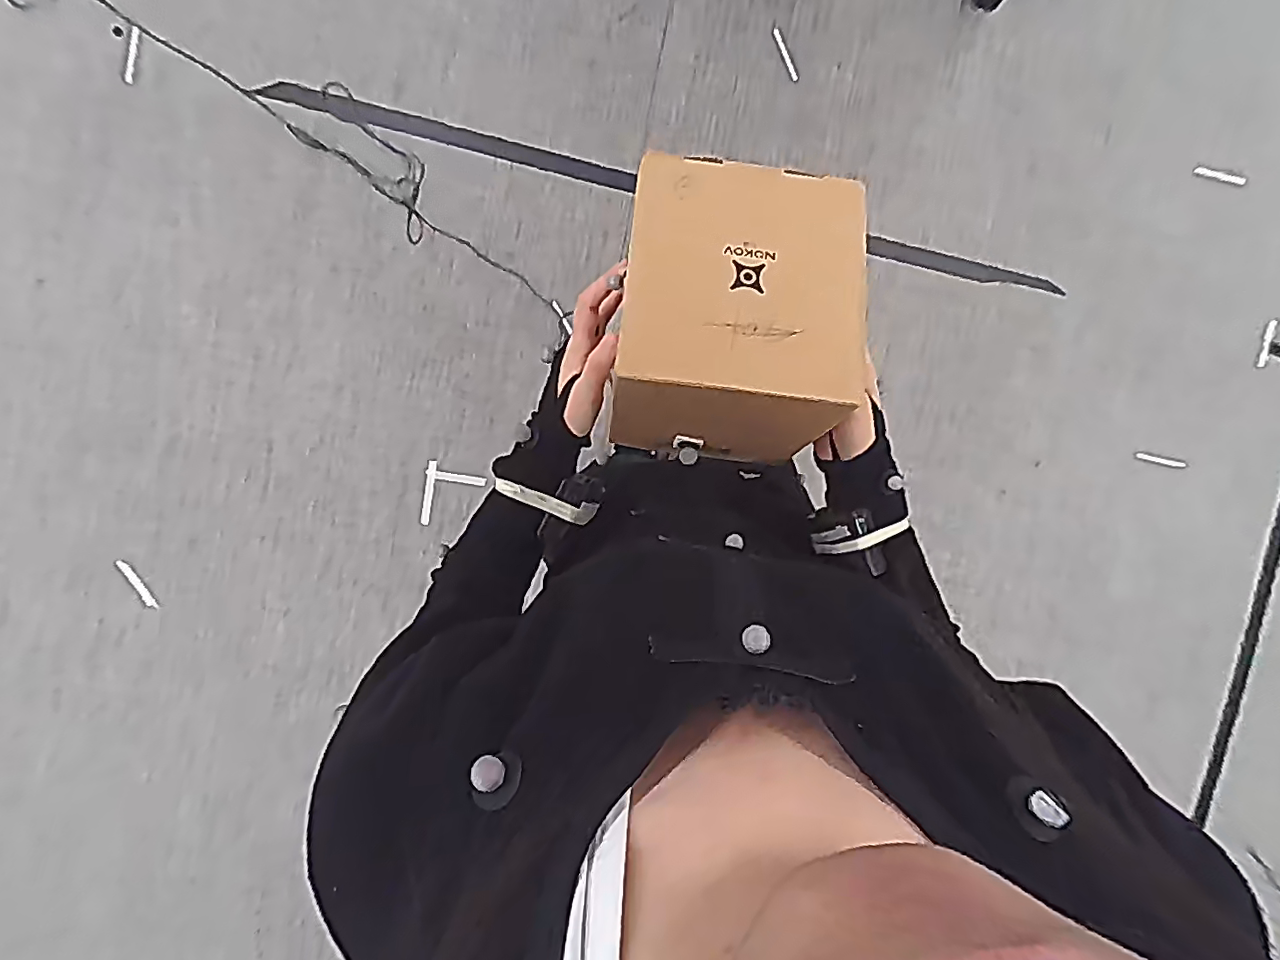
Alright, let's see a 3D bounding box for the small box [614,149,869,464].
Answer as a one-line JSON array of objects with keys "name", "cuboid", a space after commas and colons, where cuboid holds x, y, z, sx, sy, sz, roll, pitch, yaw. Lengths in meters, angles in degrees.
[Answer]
[{"name": "small box", "cuboid": [0.069, -0.124, 0.445, 0.168, 0.176, 0.179, 6, 78, -3]}]
